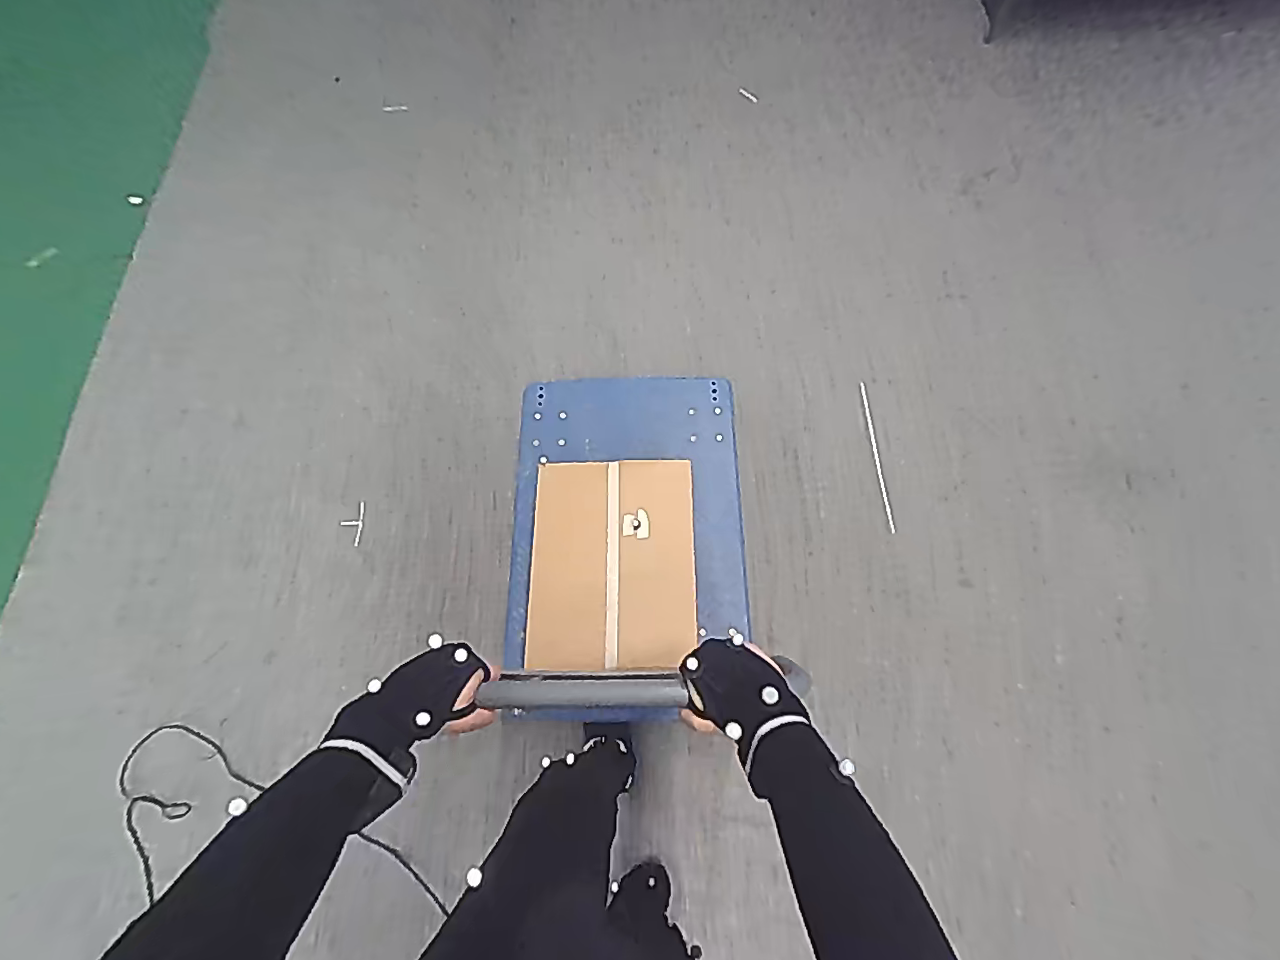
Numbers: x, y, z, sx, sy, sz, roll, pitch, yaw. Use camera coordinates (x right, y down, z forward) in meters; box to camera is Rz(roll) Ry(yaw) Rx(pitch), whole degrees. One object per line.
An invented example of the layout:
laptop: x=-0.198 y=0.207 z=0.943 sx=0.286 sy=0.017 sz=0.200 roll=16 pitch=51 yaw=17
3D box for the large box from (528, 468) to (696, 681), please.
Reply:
large box: x=-0.046 y=0.221 z=1.188 sx=0.320 sy=0.320 sz=0.408 roll=-1 pitch=68 yaw=2
